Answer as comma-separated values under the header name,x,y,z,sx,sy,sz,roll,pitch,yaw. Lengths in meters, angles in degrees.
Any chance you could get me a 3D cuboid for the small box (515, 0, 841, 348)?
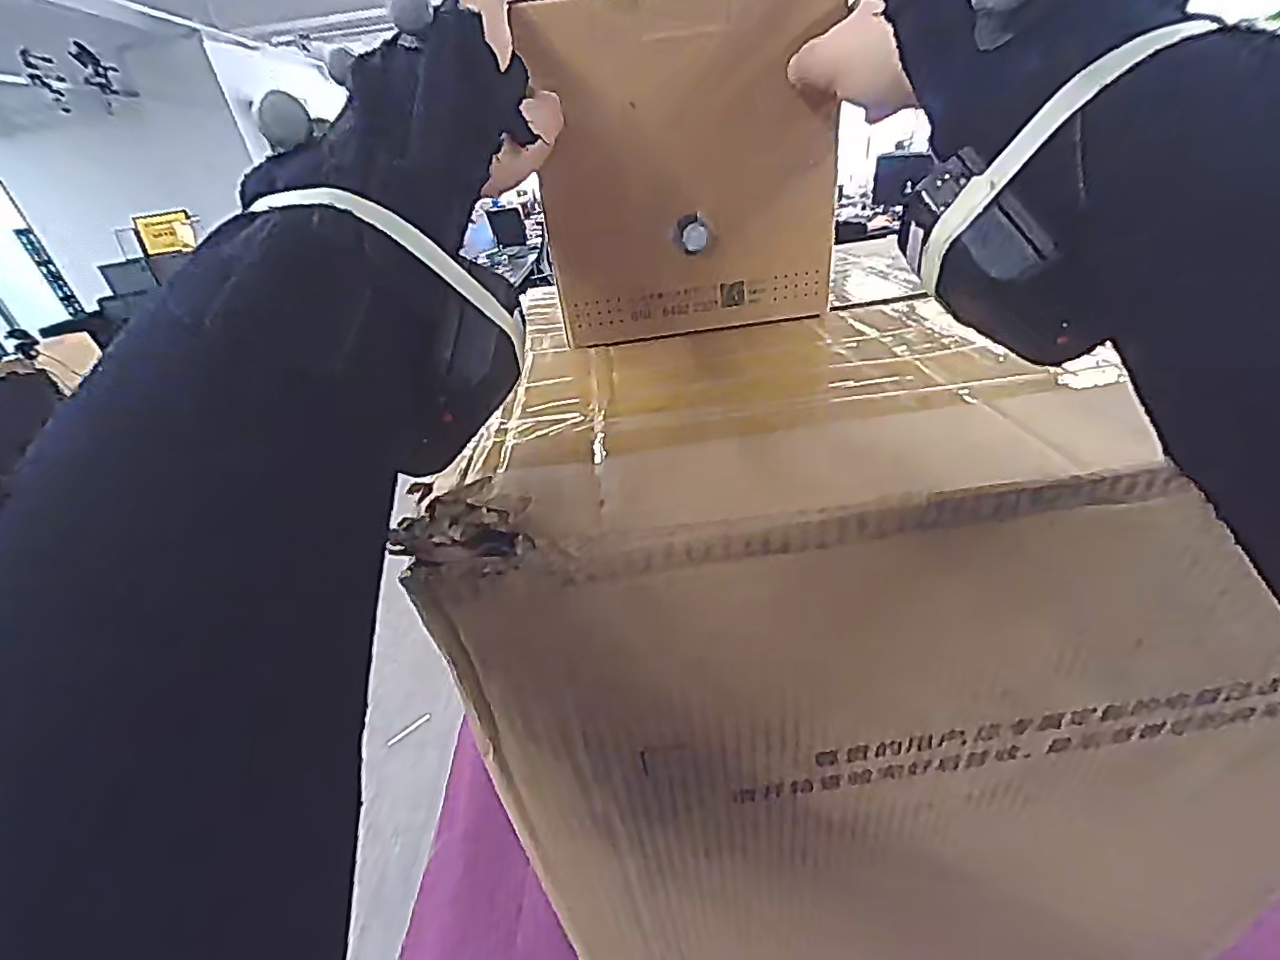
name,x,y,z,sx,sy,sz,roll,pitch,yaw
small box,0.022,-0.202,0.377,0.168,0.176,0.179,-8,31,0
